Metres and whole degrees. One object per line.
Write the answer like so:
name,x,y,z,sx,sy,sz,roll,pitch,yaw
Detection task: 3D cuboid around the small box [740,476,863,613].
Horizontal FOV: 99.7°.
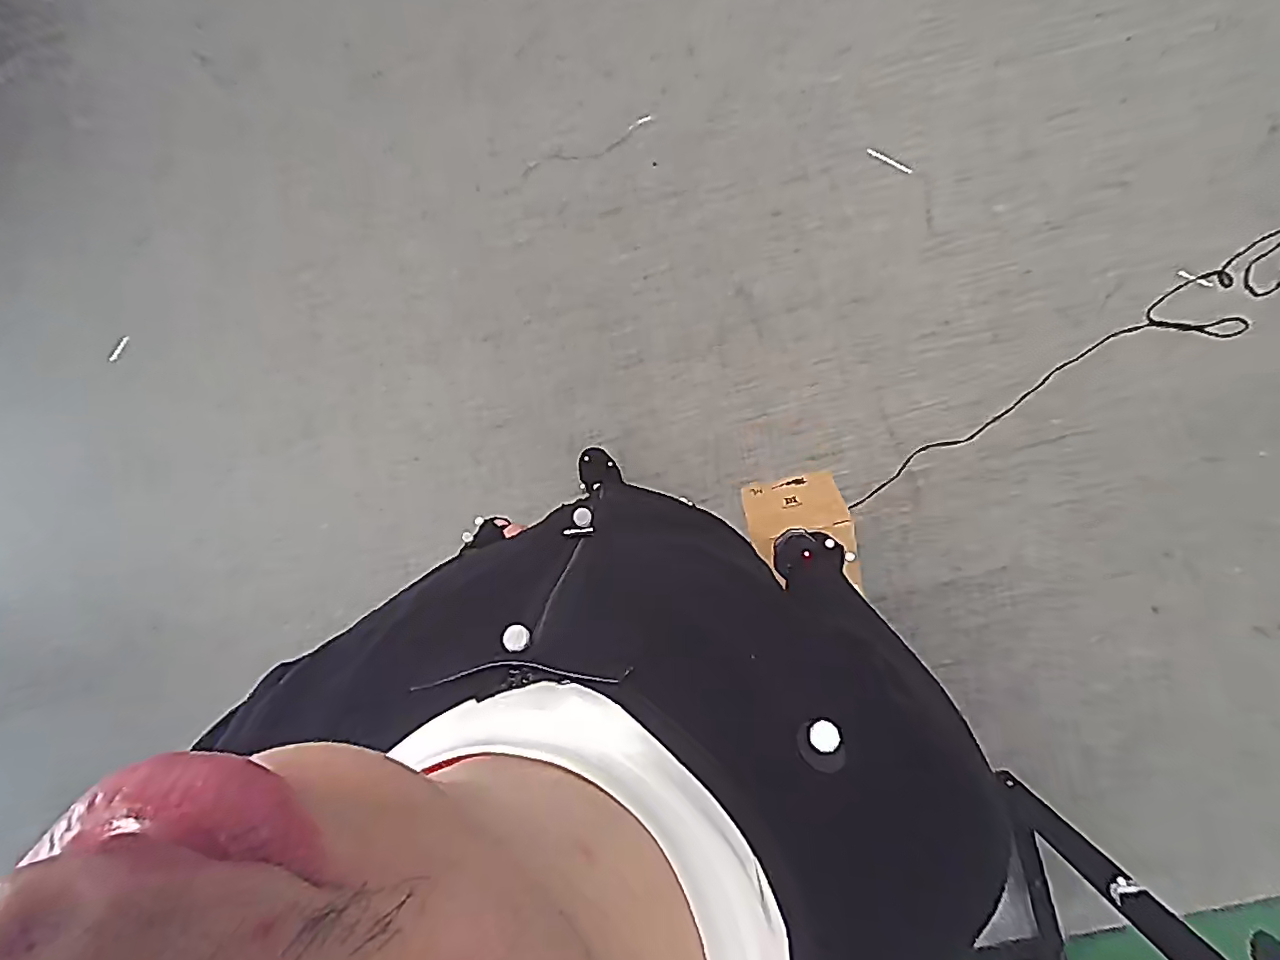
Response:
small box,0.289,0.121,0.979,0.168,0.179,0.176,-15,116,11
